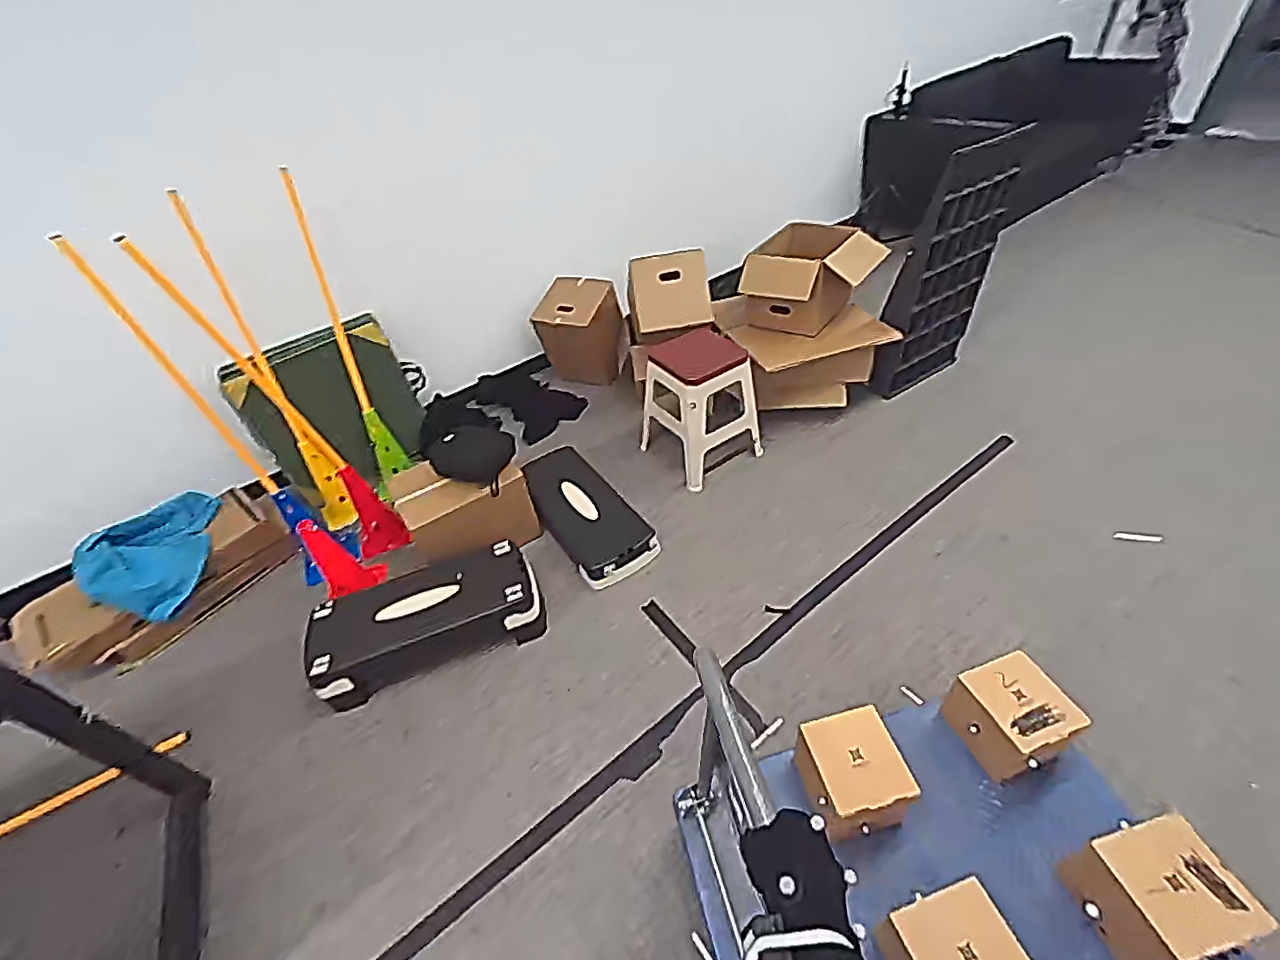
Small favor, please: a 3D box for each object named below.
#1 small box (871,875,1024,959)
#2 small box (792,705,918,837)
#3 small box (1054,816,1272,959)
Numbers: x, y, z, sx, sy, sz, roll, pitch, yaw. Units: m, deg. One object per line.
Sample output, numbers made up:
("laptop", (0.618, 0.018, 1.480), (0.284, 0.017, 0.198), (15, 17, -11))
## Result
("small box", (0.508, 0.795, 0.886), (0.168, 0.176, 0.179), (-15, 43, -8))
("small box", (0.427, 0.598, 1.111), (0.168, 0.176, 0.179), (-12, 44, -6))
("small box", (0.870, 0.710, 0.925), (0.179, 0.176, 0.168), (-14, 43, -5))
